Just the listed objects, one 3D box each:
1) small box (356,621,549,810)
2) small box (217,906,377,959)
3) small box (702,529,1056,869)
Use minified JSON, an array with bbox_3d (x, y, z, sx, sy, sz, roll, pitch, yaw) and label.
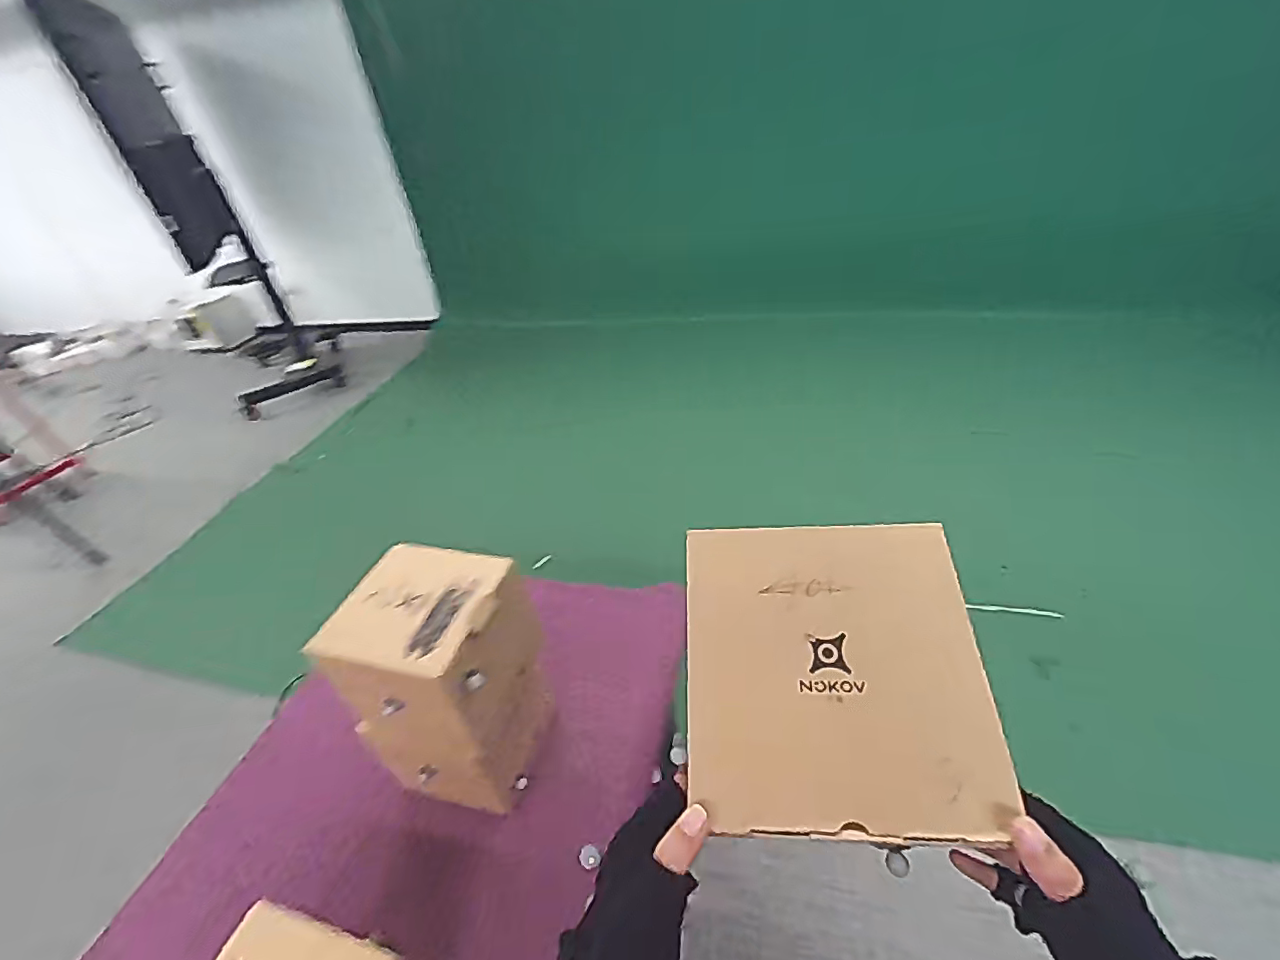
[{"bbox_3d":[-0.246,0.331,0.762,0.179,0.176,0.168,7,38,17],"label":"small box"},{"bbox_3d":[-0.317,0.544,0.504,0.179,0.176,0.168,6,39,17],"label":"small box"},{"bbox_3d":[0.130,0.148,0.371,0.168,0.176,0.179,-1,57,8],"label":"small box"}]
